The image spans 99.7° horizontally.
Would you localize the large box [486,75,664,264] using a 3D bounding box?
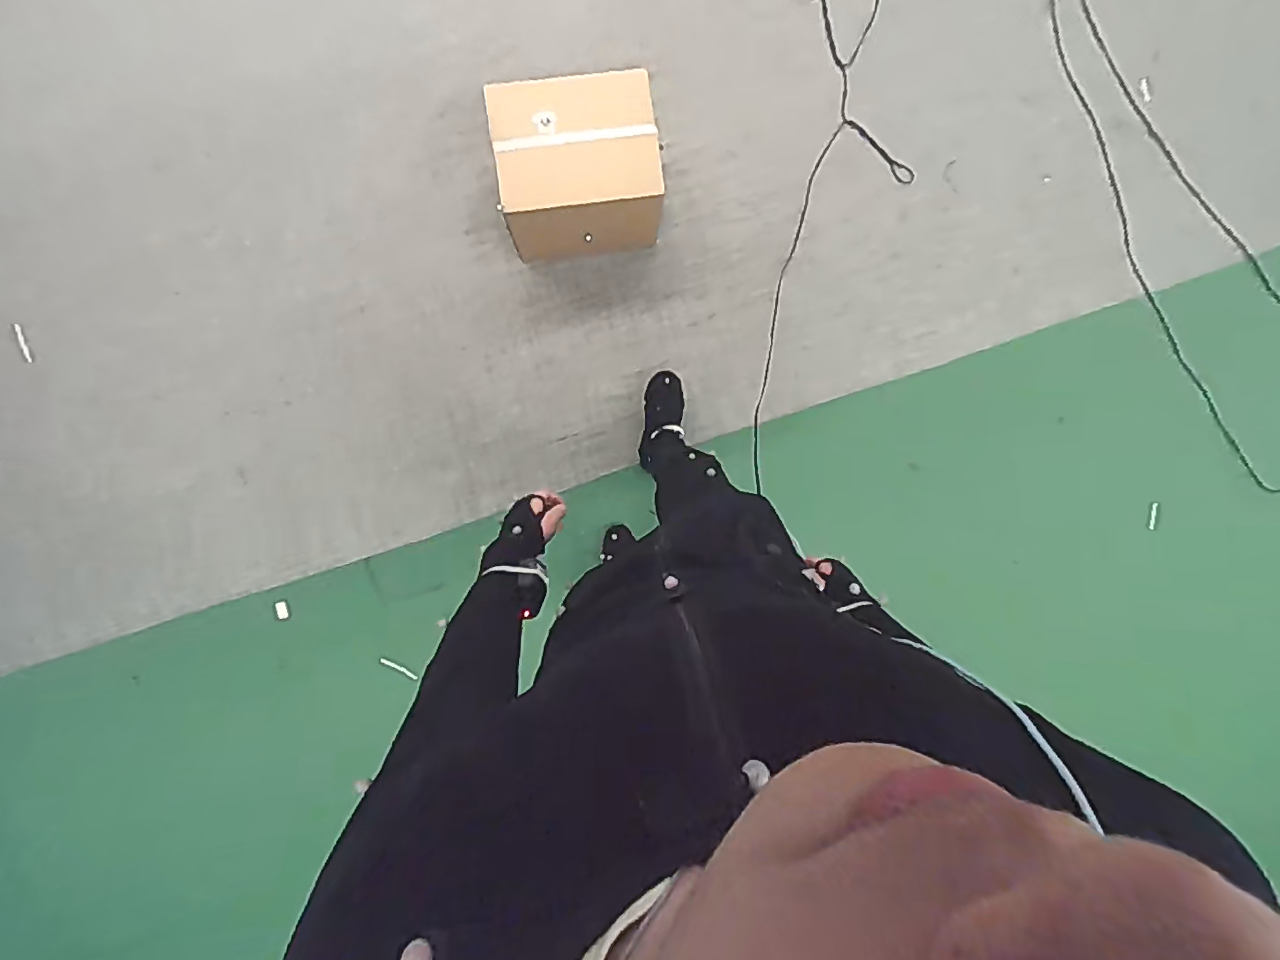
[{"bbox_3d":[-0.161,-0.819,1.473,0.408,0.320,0.320,-8,90,-2],"label":"large box"}]
